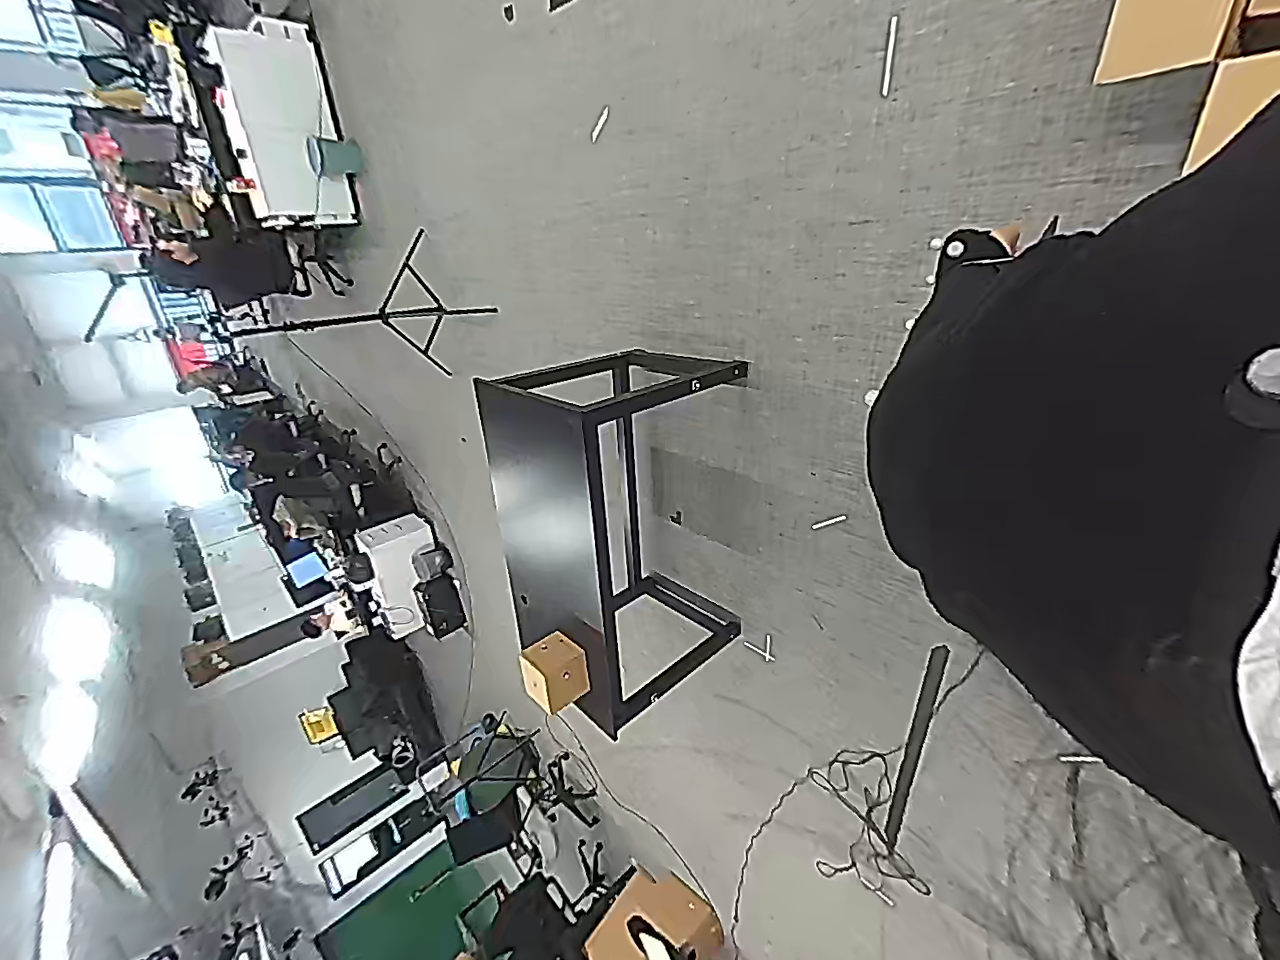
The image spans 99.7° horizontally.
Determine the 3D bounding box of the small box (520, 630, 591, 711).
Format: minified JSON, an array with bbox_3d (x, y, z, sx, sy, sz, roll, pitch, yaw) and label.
[{"bbox_3d":[-0.291,0.653,1.880,0.168,0.176,0.179,20,124,46],"label":"small box"}]
